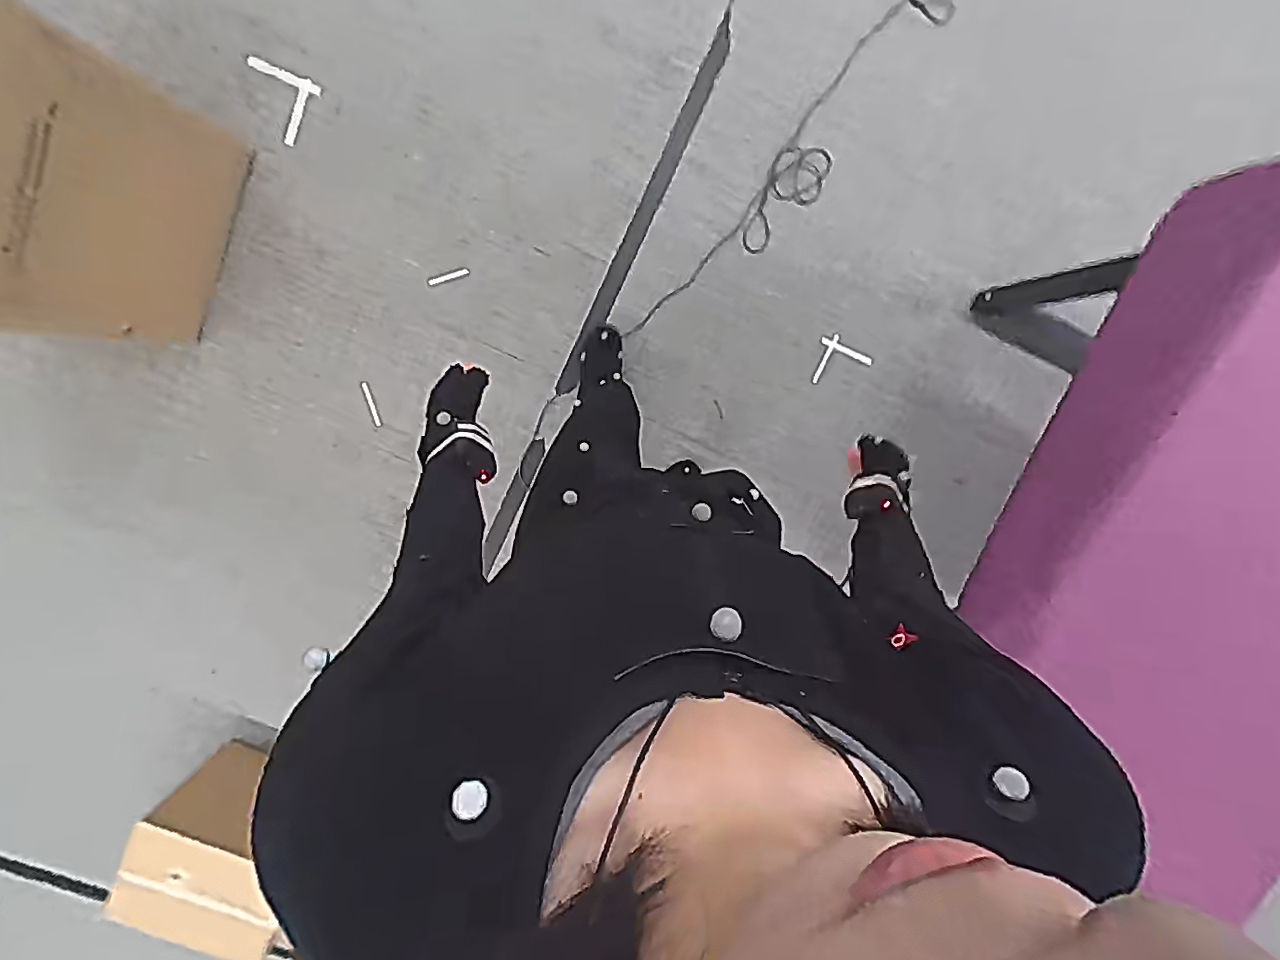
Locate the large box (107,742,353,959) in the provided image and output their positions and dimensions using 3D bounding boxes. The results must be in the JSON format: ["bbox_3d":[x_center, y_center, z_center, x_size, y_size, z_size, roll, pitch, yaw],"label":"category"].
[{"bbox_3d":[-1.103,1.015,1.501,0.408,0.320,0.320,25,98,-5],"label":"large box"}]
